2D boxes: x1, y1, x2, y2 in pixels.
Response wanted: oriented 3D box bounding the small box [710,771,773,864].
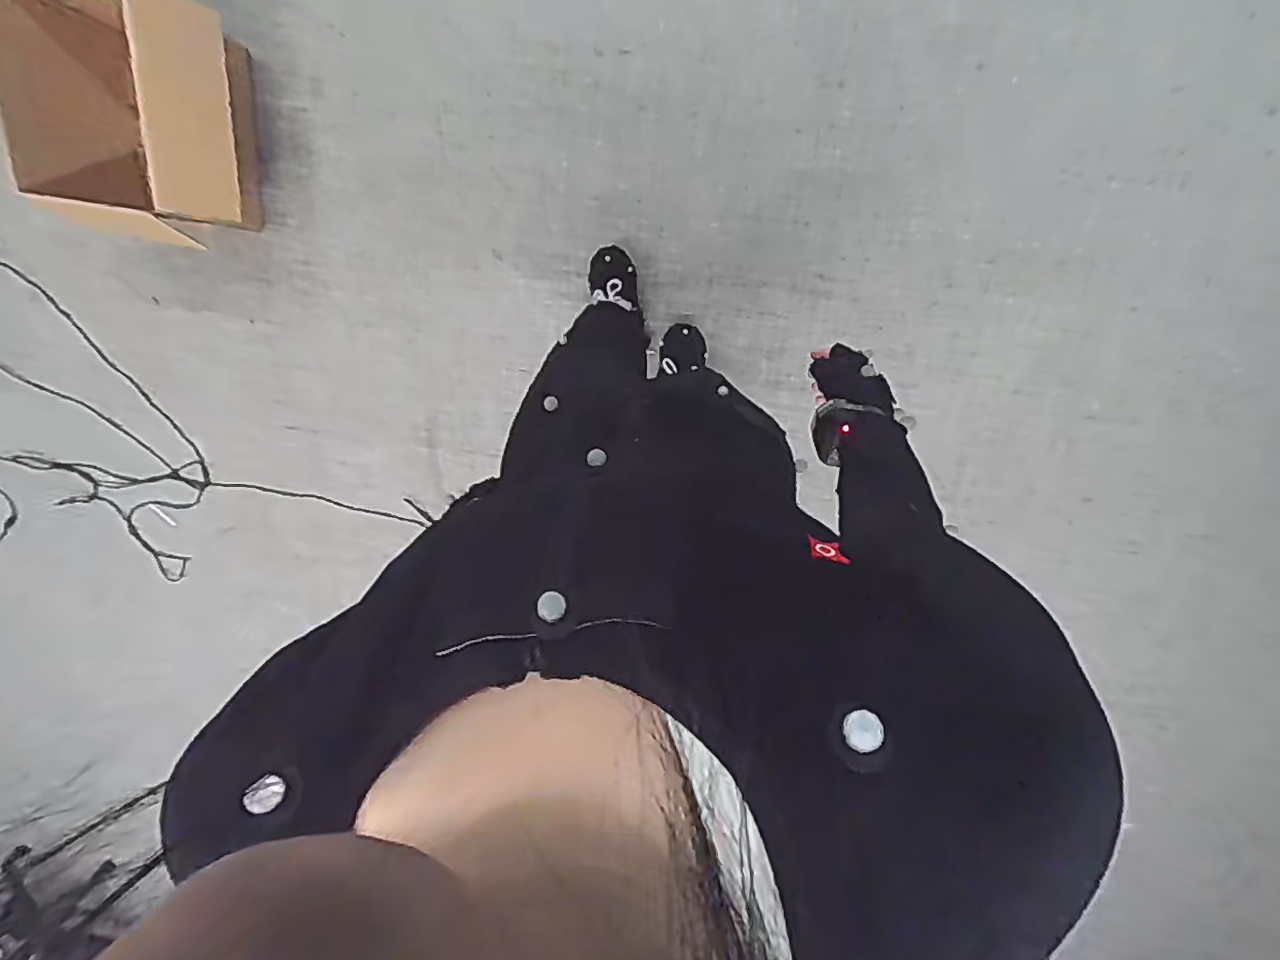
[{"bbox_3d":[0.317,1.070,1.721,0.168,0.176,0.179,6,107,3],"label":"small box"}]
